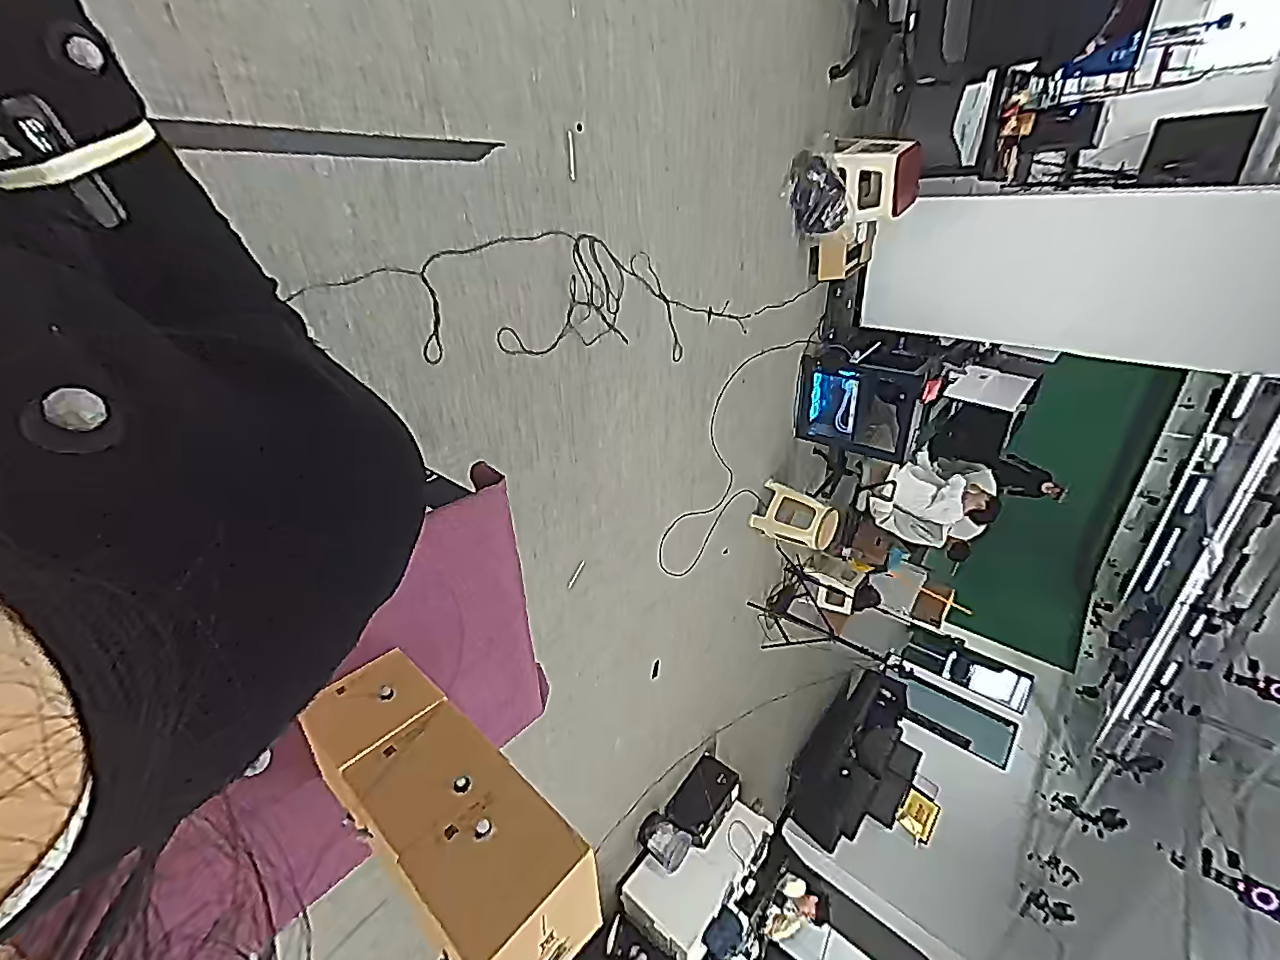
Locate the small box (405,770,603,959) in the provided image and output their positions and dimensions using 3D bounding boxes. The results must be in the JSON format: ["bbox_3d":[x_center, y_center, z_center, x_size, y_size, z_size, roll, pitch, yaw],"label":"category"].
[{"bbox_3d":[-0.165,0.512,0.676,0.168,0.176,0.179,-28,127,-42],"label":"small box"}]

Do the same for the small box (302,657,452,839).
[{"bbox_3d":[-0.411,0.413,0.871,0.168,0.176,0.179,-28,128,-42],"label":"small box"}]

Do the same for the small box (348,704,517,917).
[{"bbox_3d":[-0.287,0.465,0.777,0.168,0.176,0.179,-29,129,-42],"label":"small box"}]
